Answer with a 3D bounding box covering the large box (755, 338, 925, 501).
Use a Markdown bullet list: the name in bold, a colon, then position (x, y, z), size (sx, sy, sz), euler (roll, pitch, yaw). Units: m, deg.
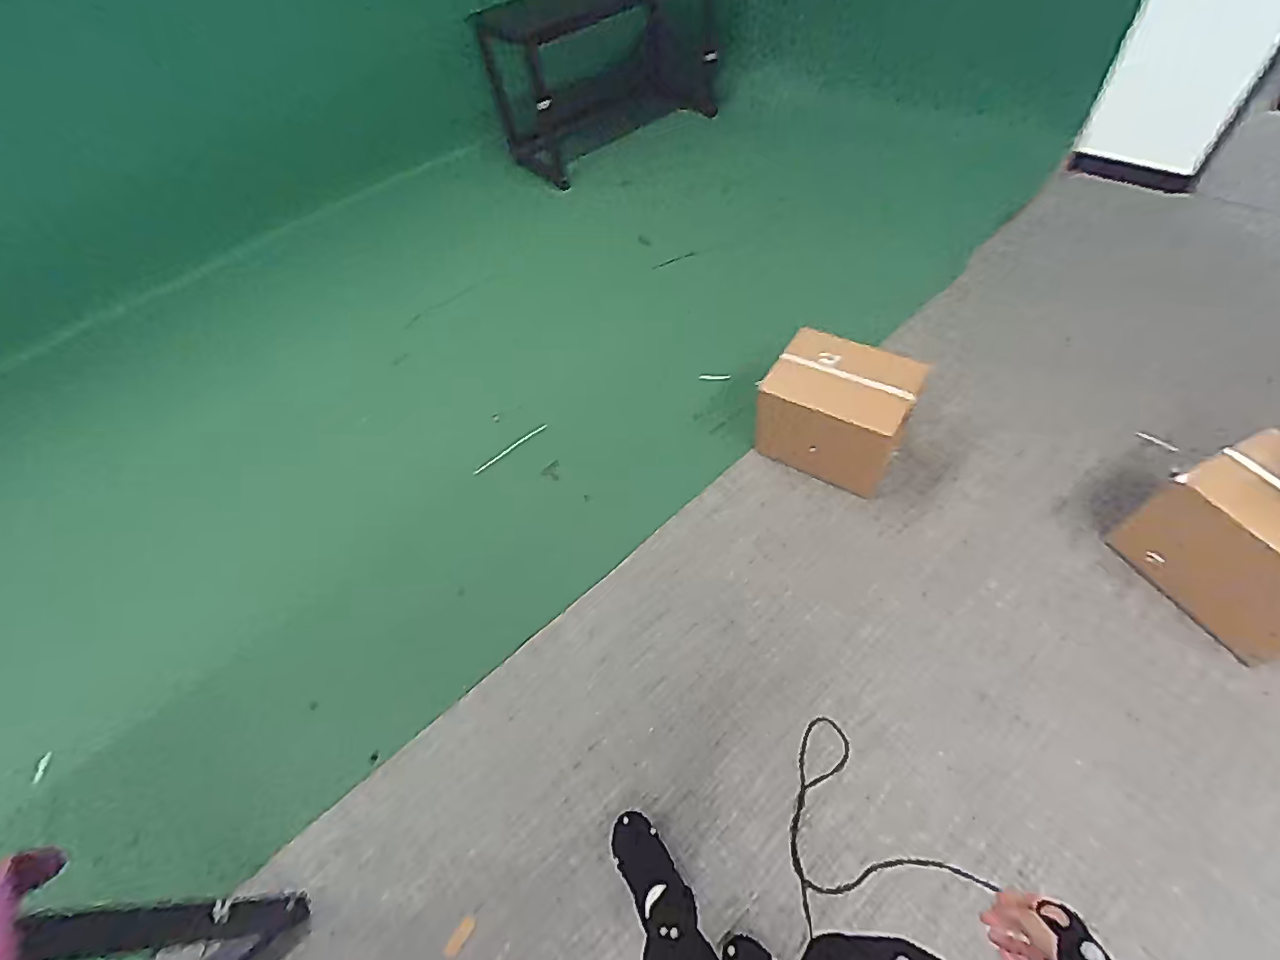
- **large box**: position (0.615, -0.193, 1.714), size (0.408, 0.320, 0.320), euler (25, 61, 26)
